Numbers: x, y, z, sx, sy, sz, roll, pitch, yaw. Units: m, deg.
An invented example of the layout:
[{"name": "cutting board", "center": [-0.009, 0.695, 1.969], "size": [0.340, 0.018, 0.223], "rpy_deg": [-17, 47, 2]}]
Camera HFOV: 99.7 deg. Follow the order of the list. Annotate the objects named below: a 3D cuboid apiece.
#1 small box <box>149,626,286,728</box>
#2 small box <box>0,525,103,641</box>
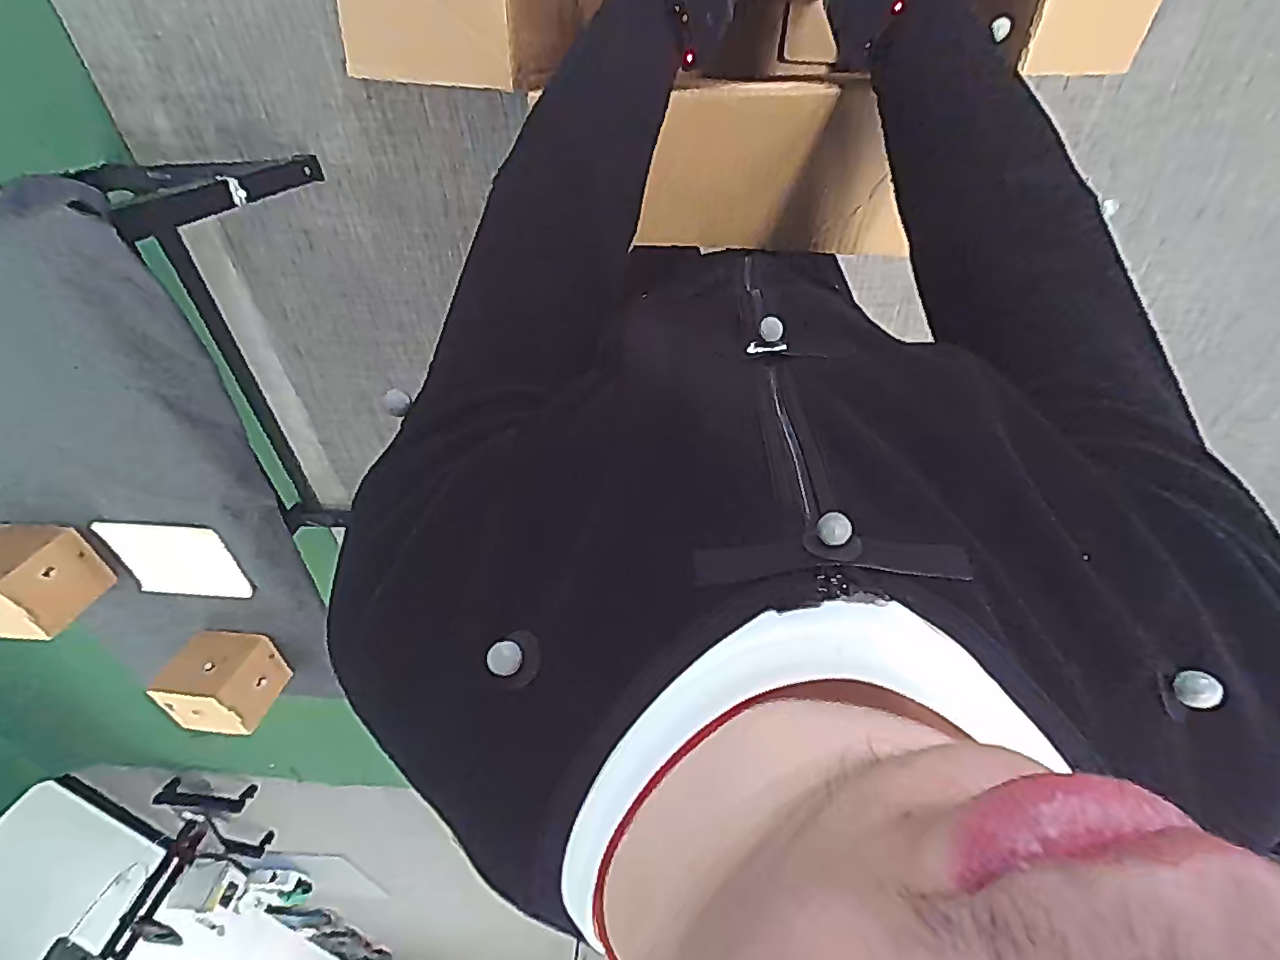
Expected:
[{"name": "small box", "center": [-0.994, 0.470, 1.300], "size": [0.179, 0.176, 0.168], "rpy_deg": [2, 128, 5]}, {"name": "small box", "center": [-1.268, 0.206, 1.101], "size": [0.179, 0.176, 0.168], "rpy_deg": [2, 127, 4]}]
